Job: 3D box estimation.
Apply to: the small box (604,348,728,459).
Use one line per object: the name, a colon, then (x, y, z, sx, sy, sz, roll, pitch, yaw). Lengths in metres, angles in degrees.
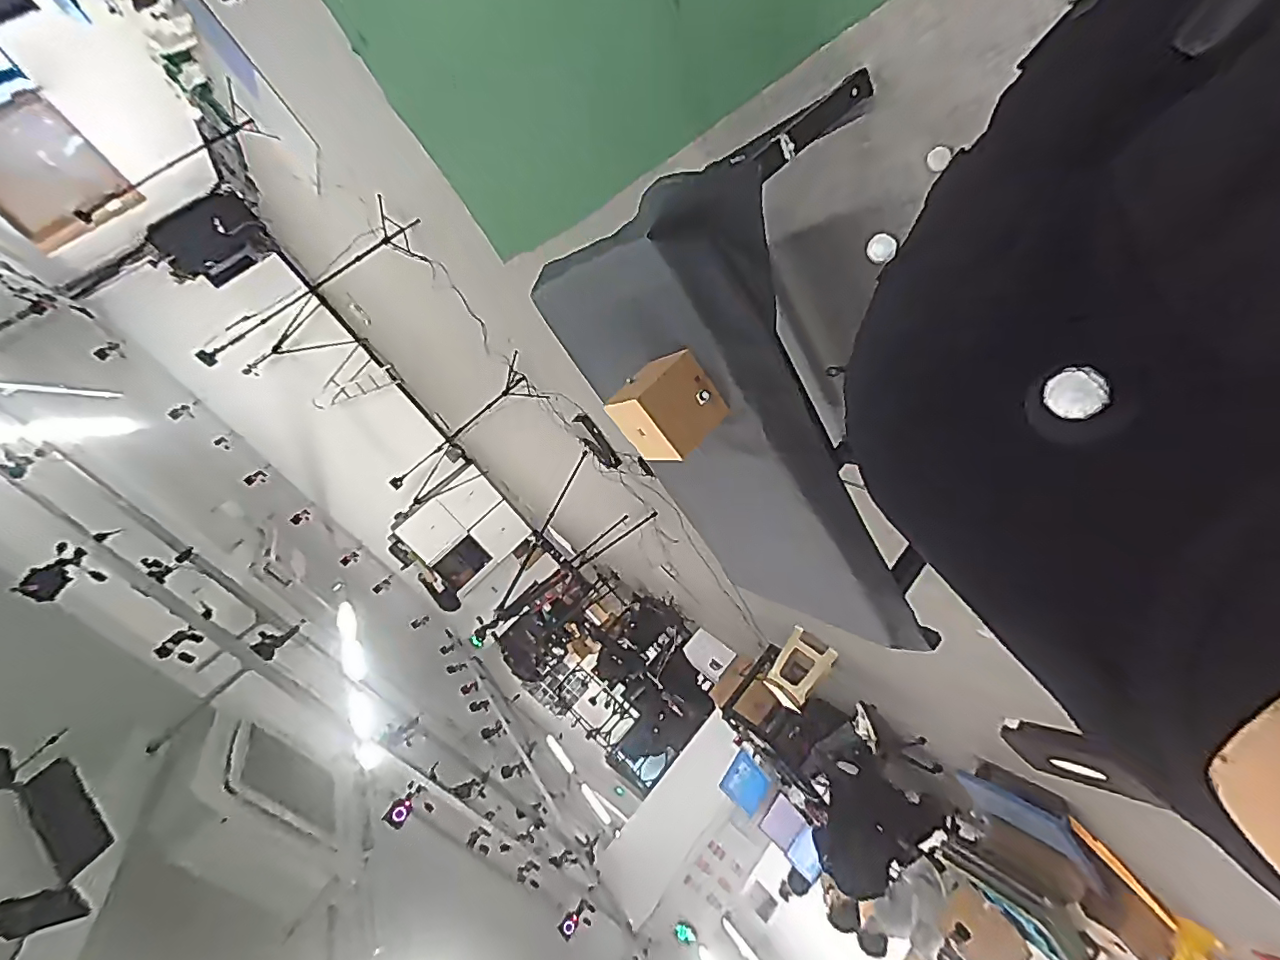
small box: (0.058, -0.162, 1.178, 0.168, 0.176, 0.179, 49, 161, -19)
